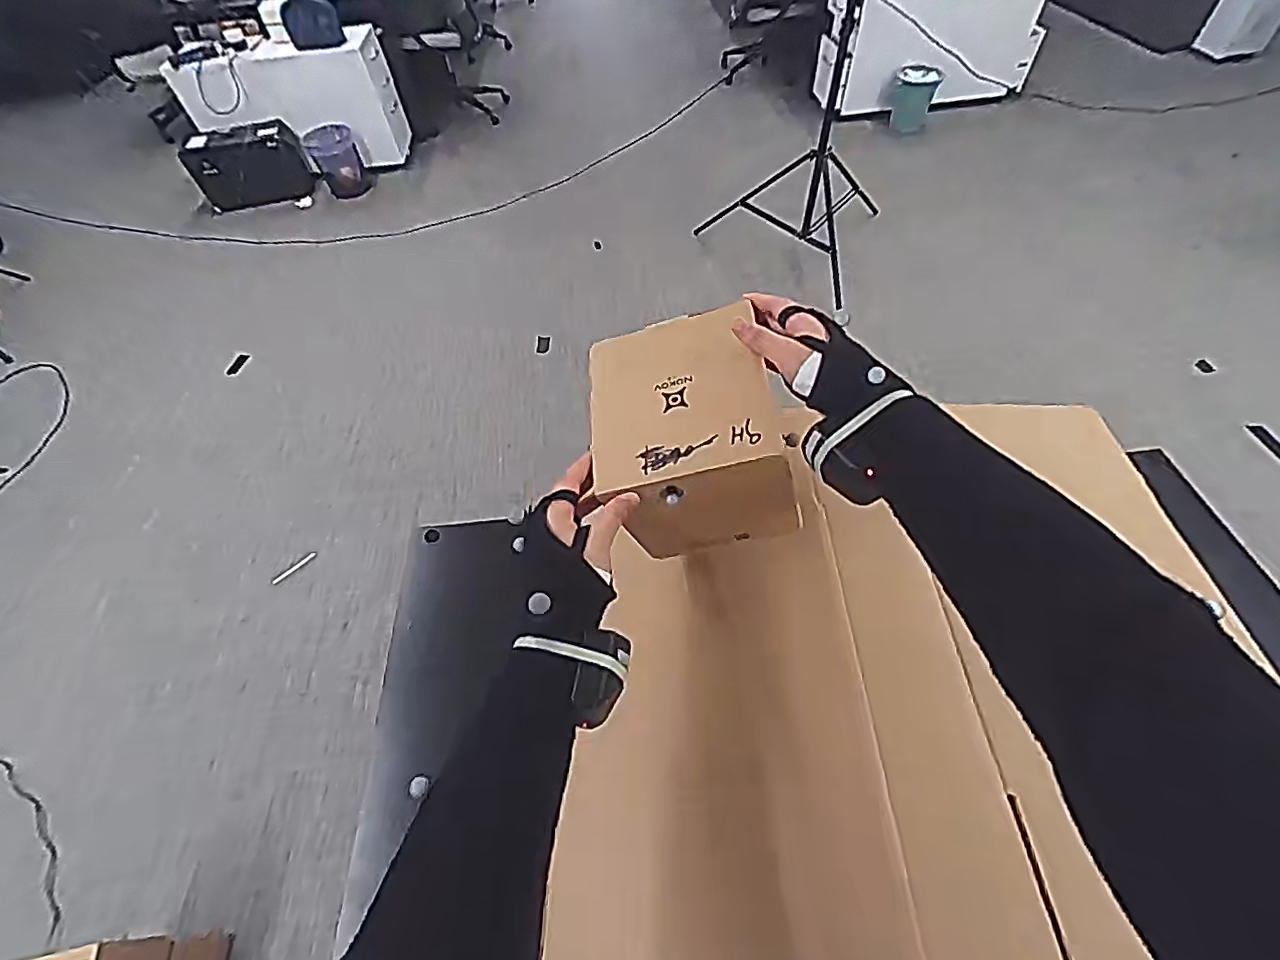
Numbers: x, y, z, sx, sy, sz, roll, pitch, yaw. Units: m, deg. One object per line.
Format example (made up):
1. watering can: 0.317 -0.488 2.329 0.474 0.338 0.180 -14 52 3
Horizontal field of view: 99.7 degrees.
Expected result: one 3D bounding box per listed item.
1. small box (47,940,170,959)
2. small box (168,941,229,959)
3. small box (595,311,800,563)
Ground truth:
1. small box: -0.949 0.907 0.906 0.168 0.176 0.179 -11 52 -5
2. small box: -0.936 1.008 1.032 0.168 0.176 0.179 -9 54 -2
3. small box: 0.061 -0.035 0.558 0.168 0.176 0.179 -13 57 15
